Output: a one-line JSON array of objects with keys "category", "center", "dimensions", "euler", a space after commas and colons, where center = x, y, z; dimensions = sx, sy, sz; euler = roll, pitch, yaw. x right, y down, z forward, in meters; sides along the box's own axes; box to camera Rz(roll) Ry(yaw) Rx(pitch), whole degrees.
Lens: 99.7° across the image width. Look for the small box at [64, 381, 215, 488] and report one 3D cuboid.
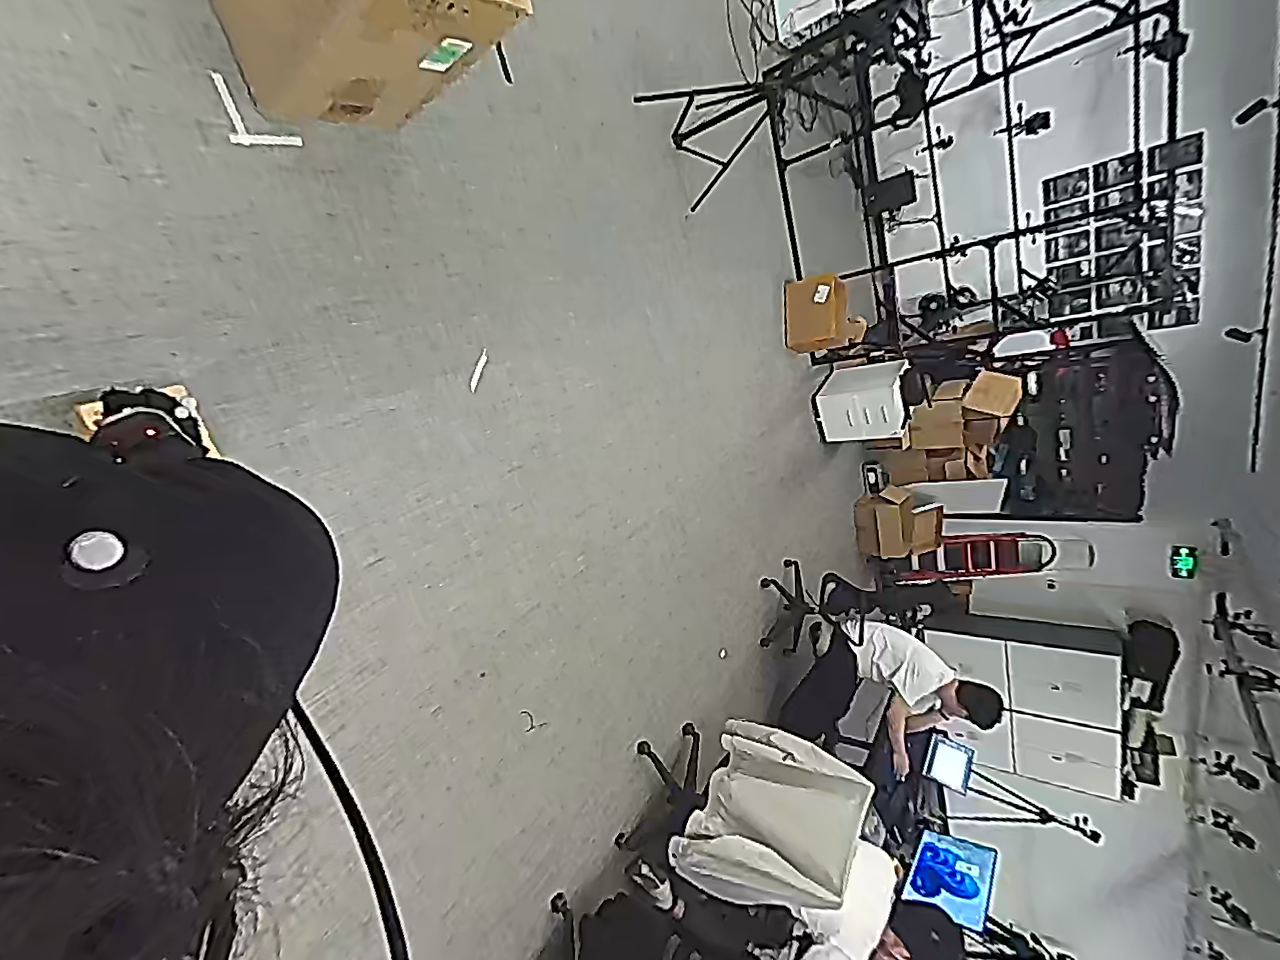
[{"category": "small box", "center": [-1.024, -0.093, 1.108], "dimensions": [0.168, 0.176, 0.179], "euler": [-33, 115, -47]}]
